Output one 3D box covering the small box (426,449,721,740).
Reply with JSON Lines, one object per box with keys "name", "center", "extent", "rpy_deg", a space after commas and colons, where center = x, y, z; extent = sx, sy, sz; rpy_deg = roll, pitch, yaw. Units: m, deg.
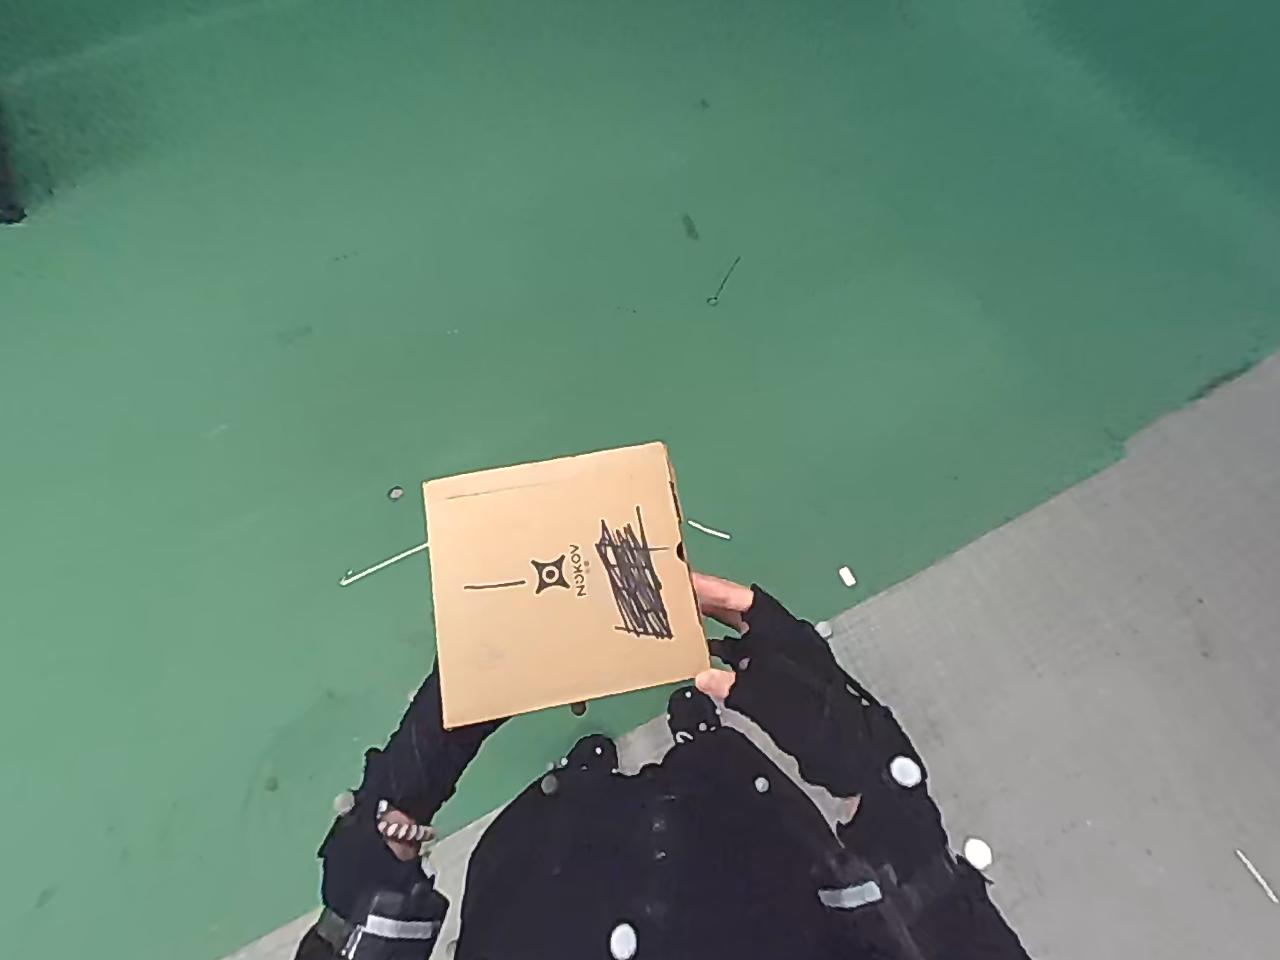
{"name": "small box", "center": [-0.051, 0.089, 0.432], "extent": [0.179, 0.176, 0.168], "rpy_deg": [-10, 75, -5]}
